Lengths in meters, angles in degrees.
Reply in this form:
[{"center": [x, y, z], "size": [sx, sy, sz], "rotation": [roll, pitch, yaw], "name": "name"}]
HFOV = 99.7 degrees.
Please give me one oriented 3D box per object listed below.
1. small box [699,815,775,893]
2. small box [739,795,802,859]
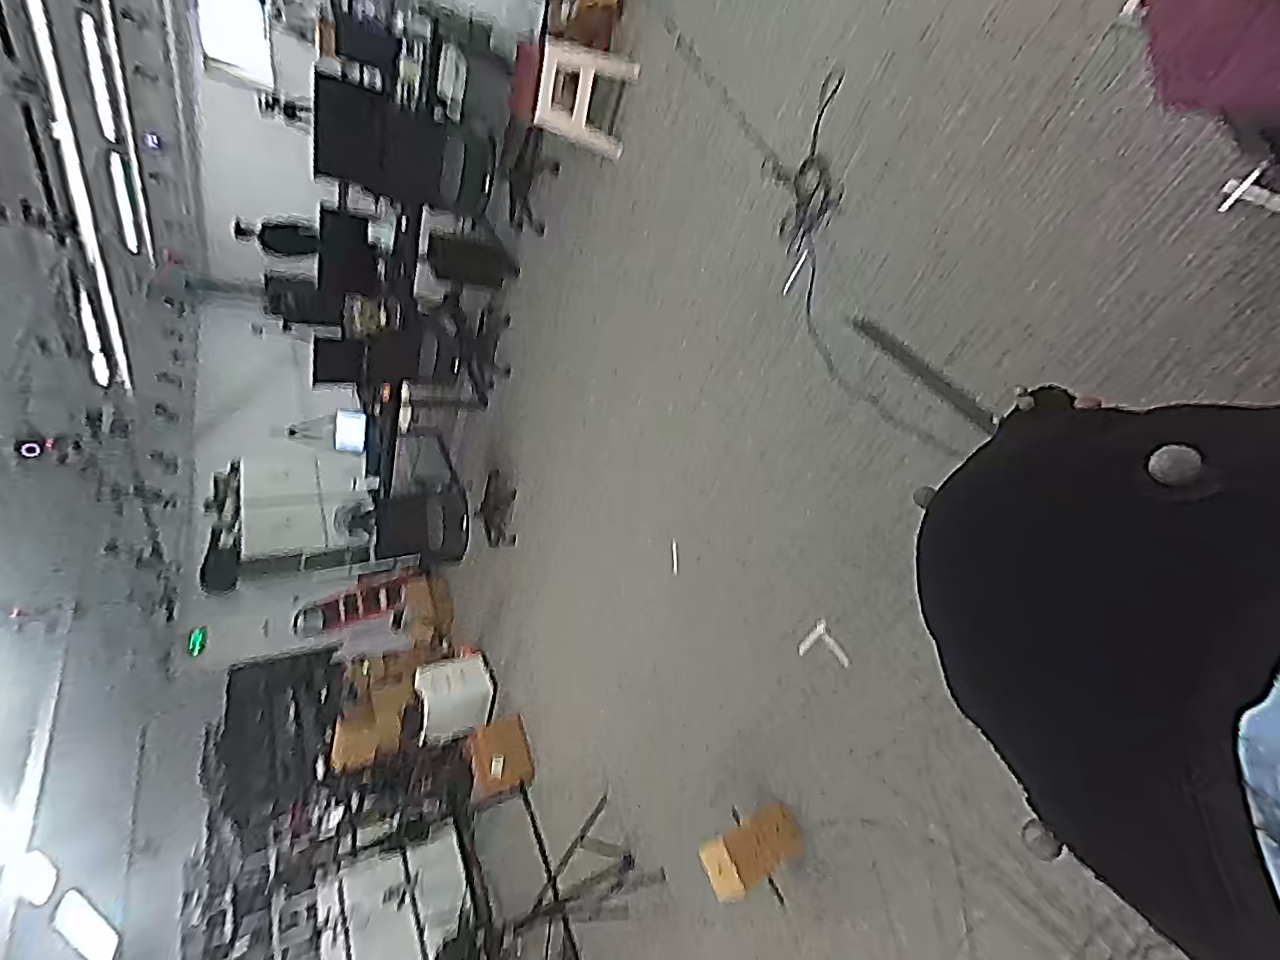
[{"center": [0.349, 1.340, 1.940], "size": [0.168, 0.176, 0.179], "rotation": [61, 138, 31], "name": "small box"}, {"center": [0.479, 1.328, 2.039], "size": [0.168, 0.176, 0.179], "rotation": [56, 136, 36], "name": "small box"}]
